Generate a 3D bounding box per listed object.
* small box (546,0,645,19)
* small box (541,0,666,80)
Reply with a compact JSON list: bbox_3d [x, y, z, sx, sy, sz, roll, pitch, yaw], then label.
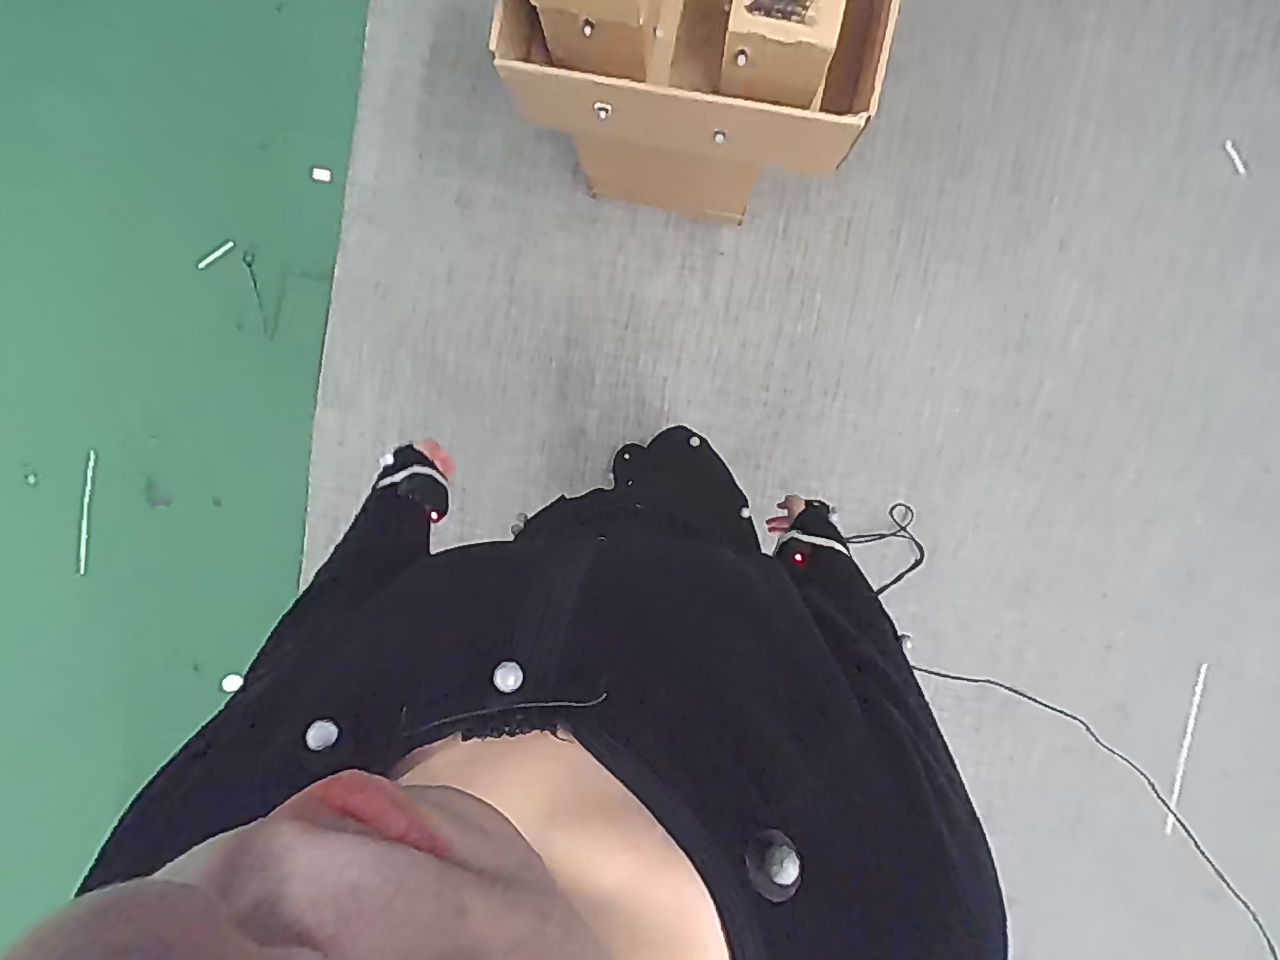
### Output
[{"bbox_3d":[-0.070,-0.774,0.725,0.179,0.176,0.168,13,95,1],"label":"small box"},{"bbox_3d":[-0.058,-0.801,0.886,0.179,0.176,0.168,13,95,1],"label":"small box"}]
